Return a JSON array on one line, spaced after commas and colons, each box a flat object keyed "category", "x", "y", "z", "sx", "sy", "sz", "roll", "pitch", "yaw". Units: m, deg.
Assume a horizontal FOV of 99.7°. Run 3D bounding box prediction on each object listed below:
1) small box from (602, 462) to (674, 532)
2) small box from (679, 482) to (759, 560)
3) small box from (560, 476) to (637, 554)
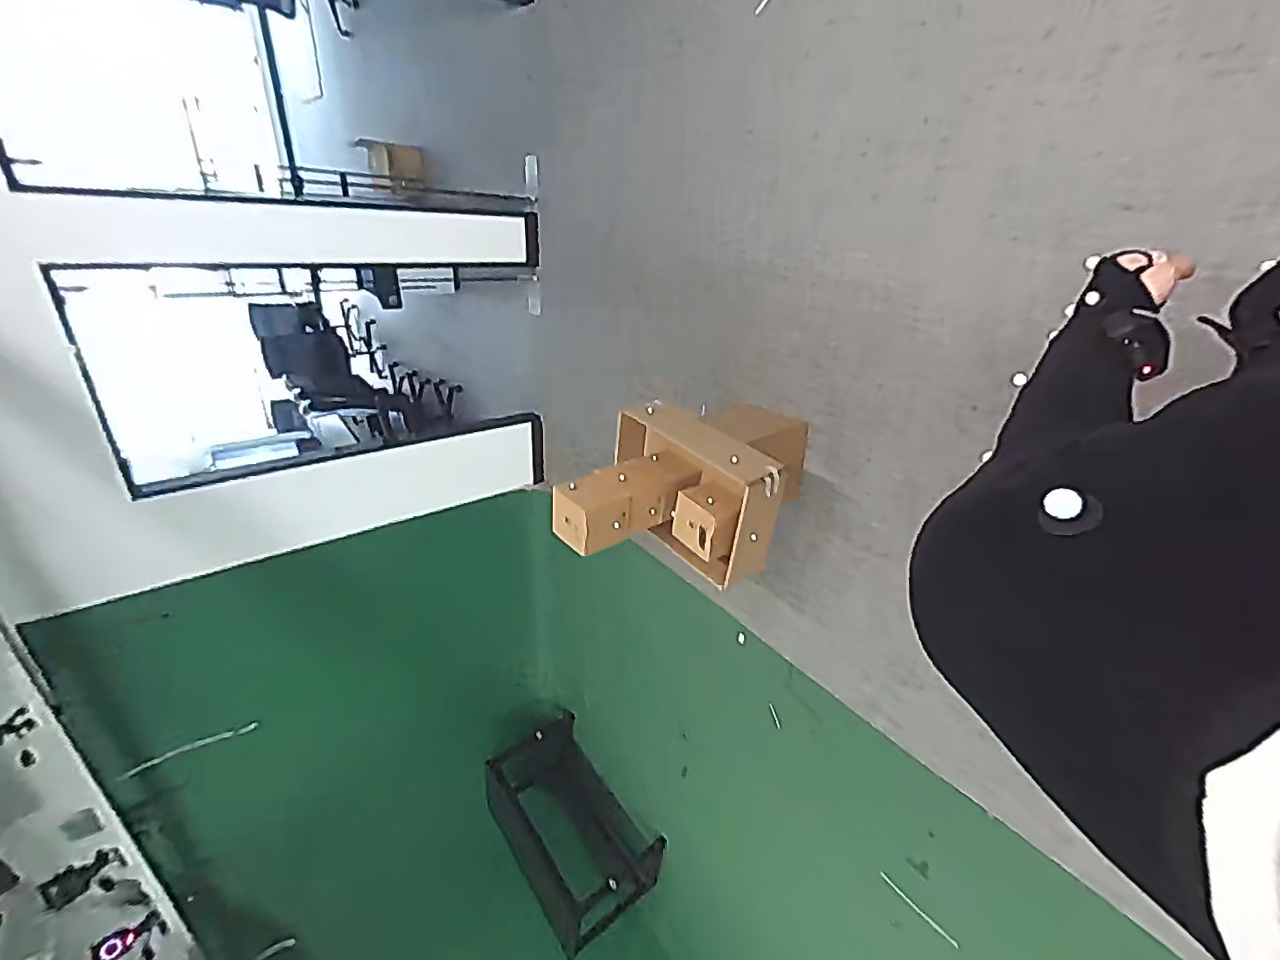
[{"category": "small box", "x": -0.013, "y": 0.054, "z": 1.791, "sx": 0.179, "sy": 0.176, "sz": 0.168, "roll": 33, "pitch": 129, "yaw": 39}, {"category": "small box", "x": 0.253, "y": 0.122, "z": 1.729, "sx": 0.179, "sy": 0.176, "sz": 0.168, "roll": 37, "pitch": 131, "yaw": 42}, {"category": "small box", "x": -0.130, "y": 0.101, "z": 1.684, "sx": 0.179, "sy": 0.176, "sz": 0.168, "roll": 31, "pitch": 128, "yaw": 40}]
